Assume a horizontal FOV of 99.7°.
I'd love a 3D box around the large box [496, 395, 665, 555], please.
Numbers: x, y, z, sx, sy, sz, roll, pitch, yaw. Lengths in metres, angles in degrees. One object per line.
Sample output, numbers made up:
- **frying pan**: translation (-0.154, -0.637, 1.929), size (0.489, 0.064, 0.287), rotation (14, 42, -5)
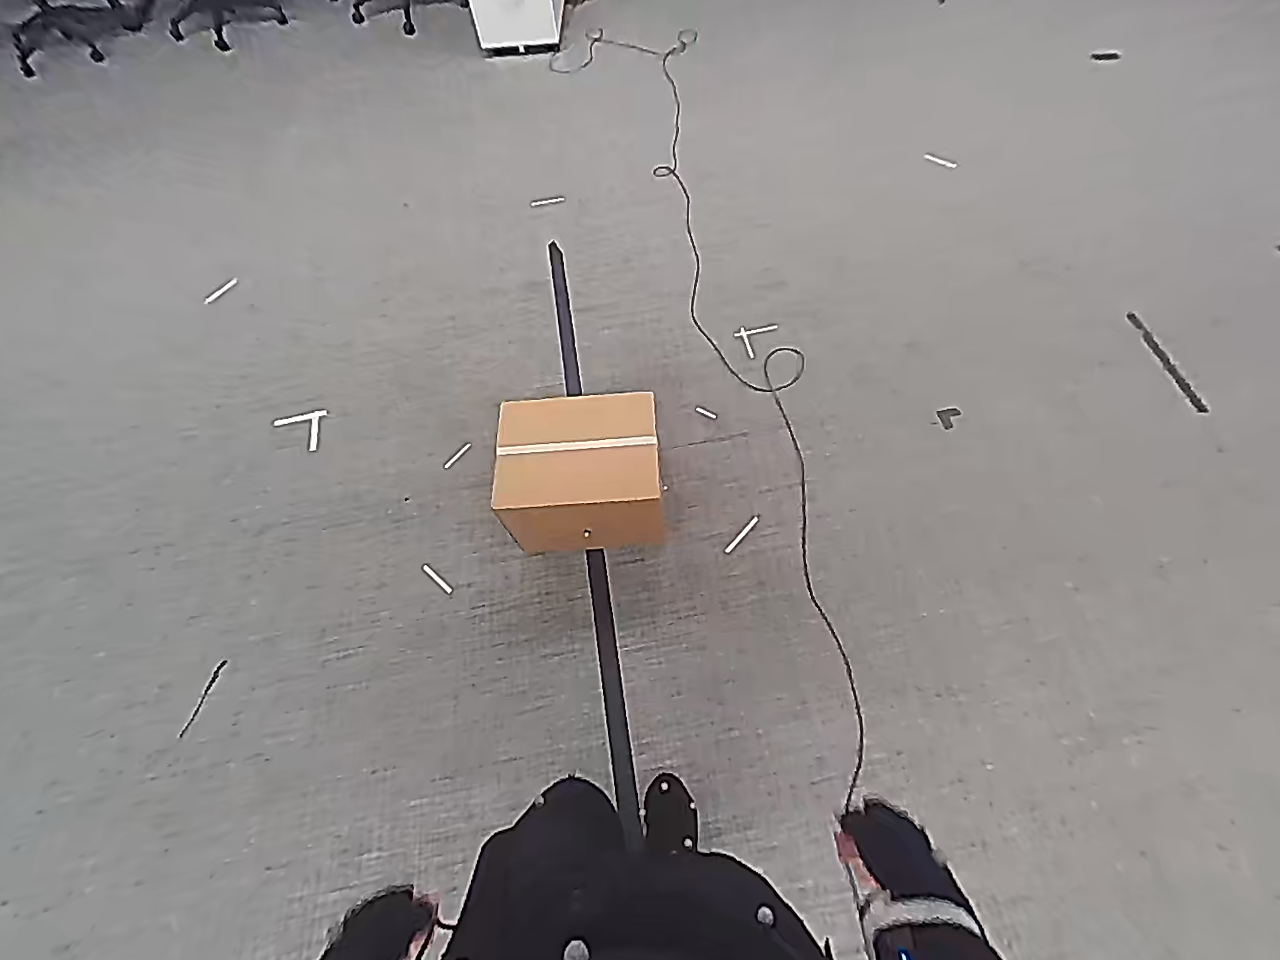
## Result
- **large box**: translation (-0.145, -0.002, 1.466), size (0.408, 0.320, 0.320), rotation (-4, 63, 2)
